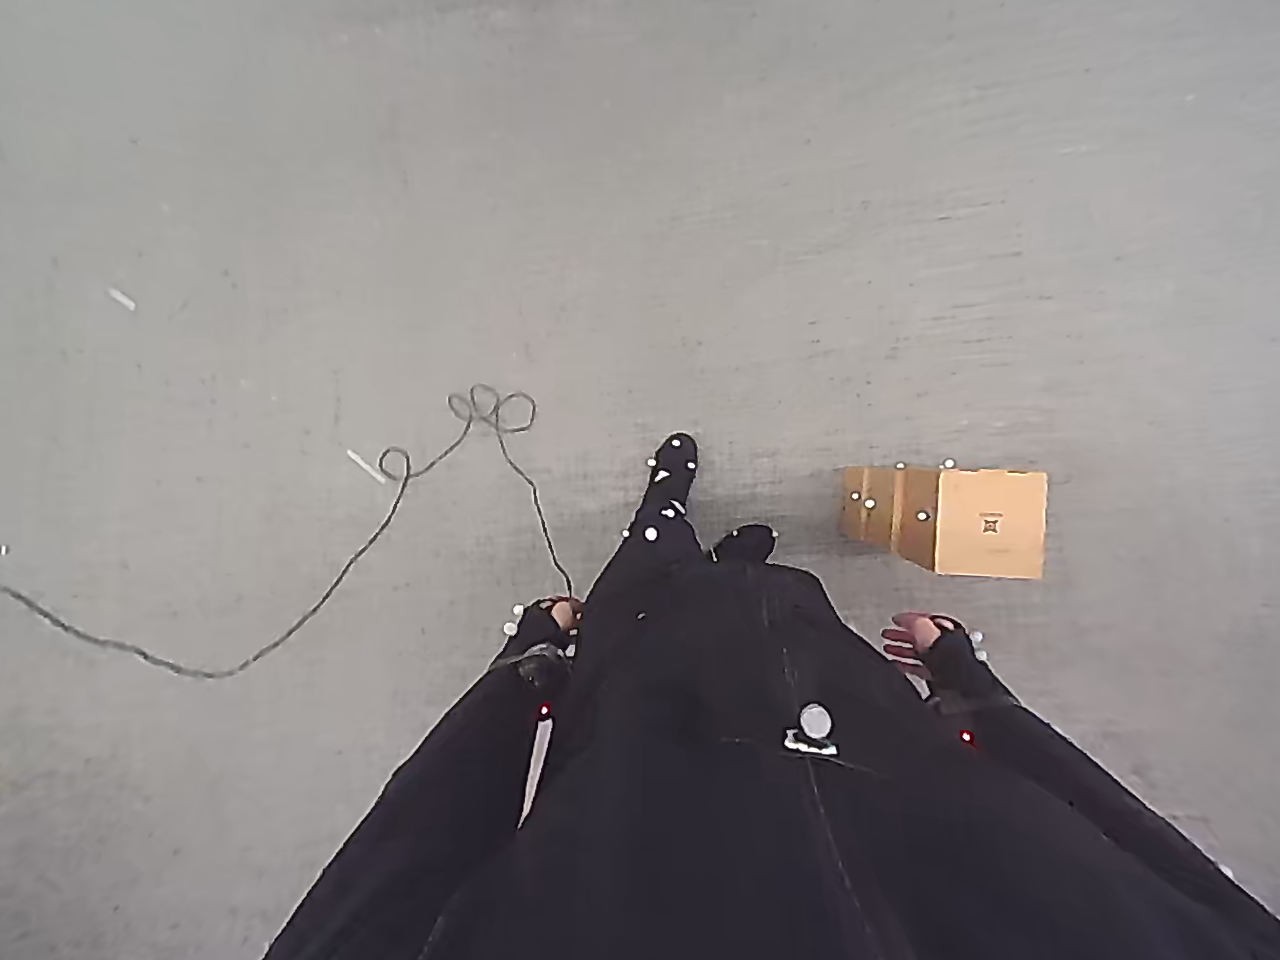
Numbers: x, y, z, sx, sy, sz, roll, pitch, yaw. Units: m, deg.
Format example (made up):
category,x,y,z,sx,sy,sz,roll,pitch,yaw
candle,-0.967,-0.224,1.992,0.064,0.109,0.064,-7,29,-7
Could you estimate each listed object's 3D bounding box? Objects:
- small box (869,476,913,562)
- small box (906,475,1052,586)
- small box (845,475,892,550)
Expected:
category,x,y,z,sx,sy,sz,roll,pitch,yaw
small box,0.594,0.079,1.116,0.179,0.176,0.168,4,91,7
small box,0.586,0.080,0.955,0.168,0.176,0.179,1,92,7
small box,0.603,0.075,1.281,0.179,0.176,0.168,2,91,6
